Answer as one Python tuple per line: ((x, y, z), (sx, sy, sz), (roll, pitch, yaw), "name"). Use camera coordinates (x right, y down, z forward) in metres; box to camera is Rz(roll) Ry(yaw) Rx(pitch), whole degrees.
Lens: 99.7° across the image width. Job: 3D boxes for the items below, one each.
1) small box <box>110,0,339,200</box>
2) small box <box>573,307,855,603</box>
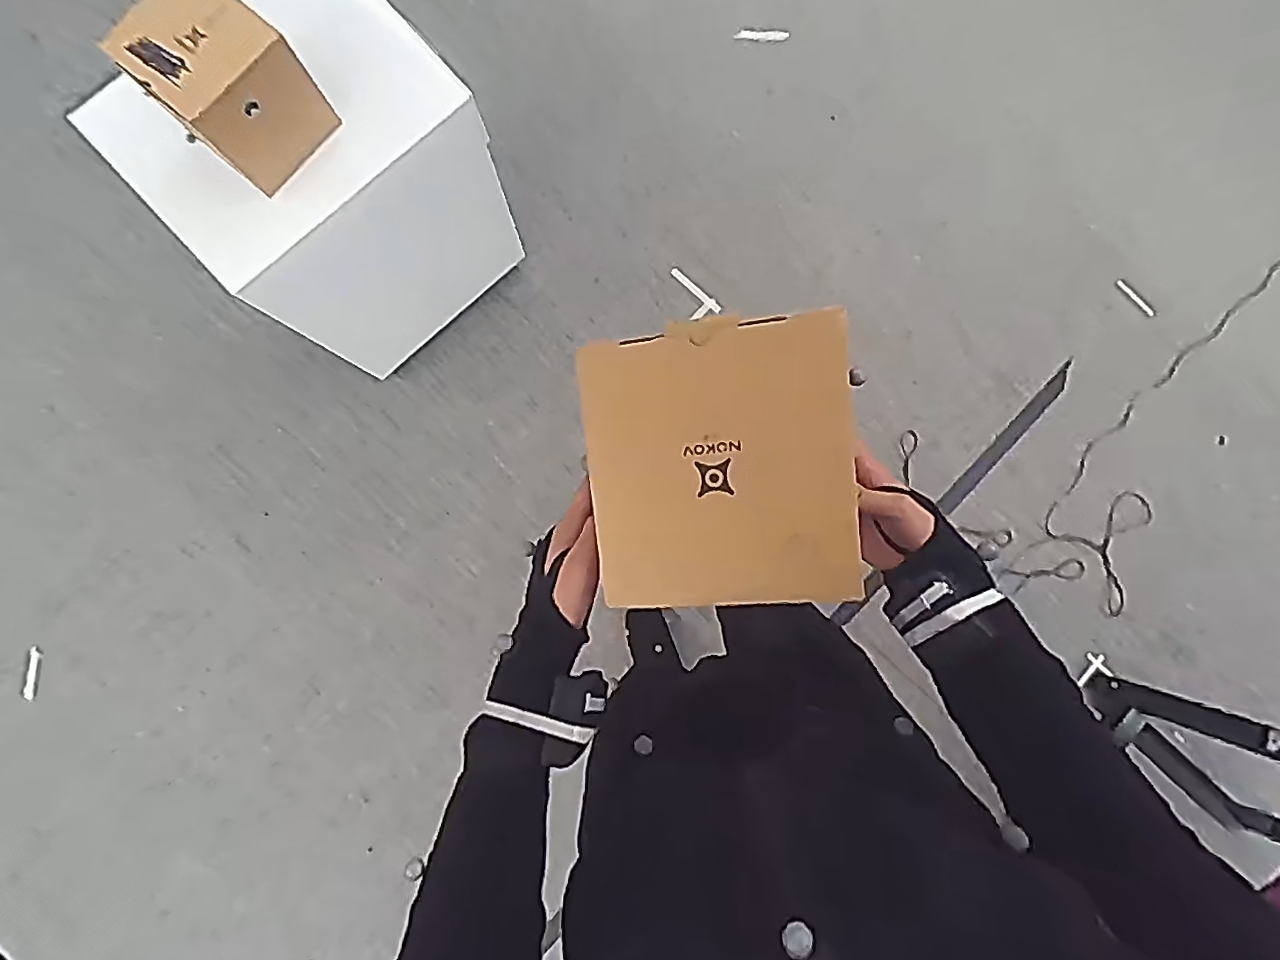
((-0.600, -0.569, 0.810), (0.168, 0.176, 0.179), (39, 84, 1), "small box")
((0.063, -0.019, 0.416), (0.168, 0.176, 0.179), (-6, 95, 14), "small box")
